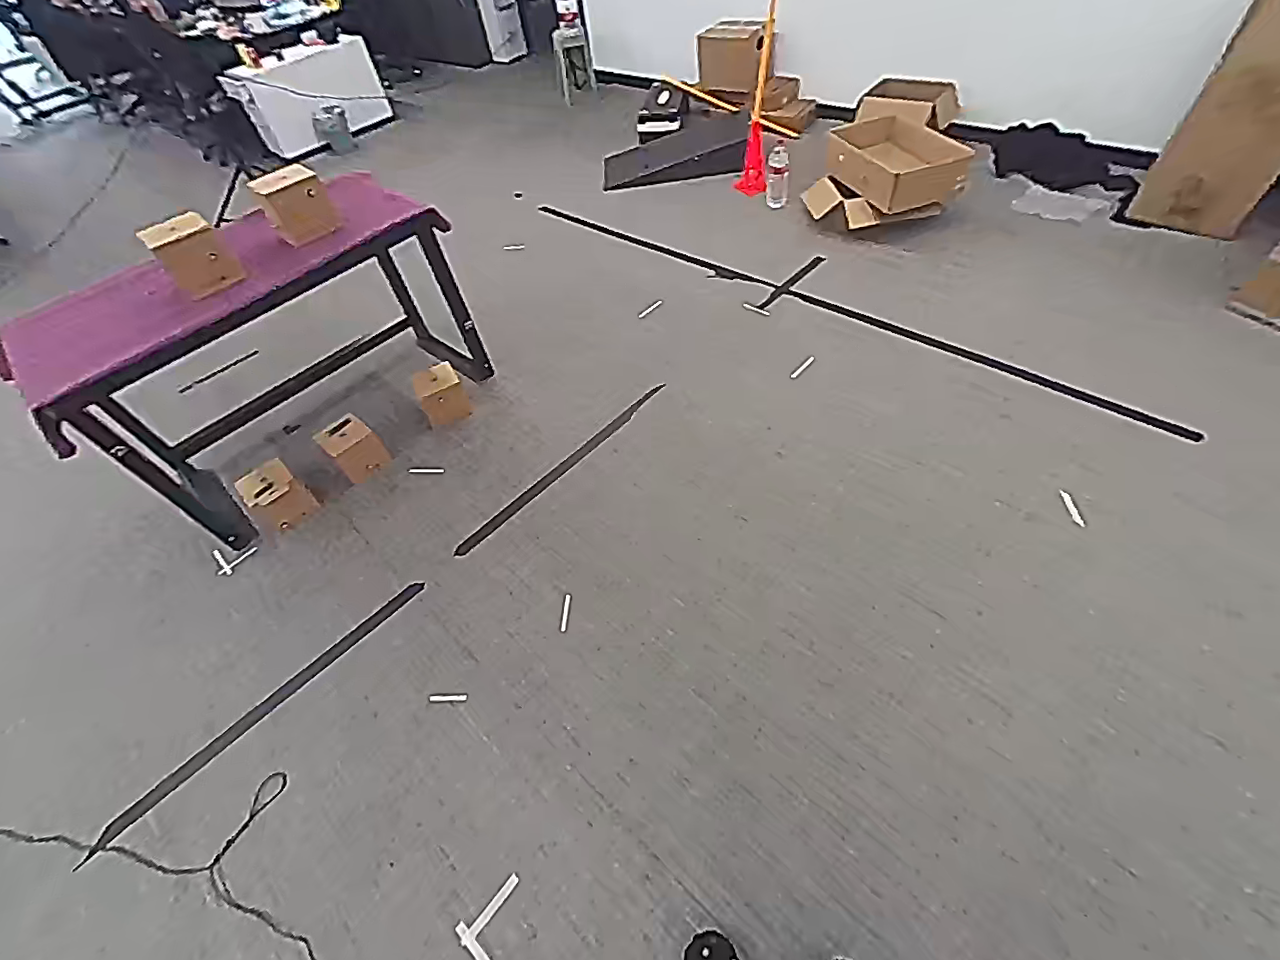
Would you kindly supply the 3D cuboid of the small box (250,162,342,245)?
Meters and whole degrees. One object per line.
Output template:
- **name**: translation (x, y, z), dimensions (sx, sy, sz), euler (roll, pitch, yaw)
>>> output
- **small box**: translation (-1.112, -0.902, 1.765), dimensions (0.168, 0.176, 0.179), euler (35, 64, 31)

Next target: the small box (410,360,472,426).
- **small box**: translation (-0.813, -0.357, 2.227), dimensions (0.179, 0.176, 0.168), euler (-28, 54, -13)

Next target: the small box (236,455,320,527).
- **small box**: translation (-1.315, 0.047, 1.976), dimensions (0.179, 0.176, 0.168), euler (34, 63, 31)

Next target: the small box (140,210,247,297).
- **small box**: translation (-1.328, -0.673, 1.616), dimensions (0.179, 0.176, 0.168), euler (34, 62, 32)
